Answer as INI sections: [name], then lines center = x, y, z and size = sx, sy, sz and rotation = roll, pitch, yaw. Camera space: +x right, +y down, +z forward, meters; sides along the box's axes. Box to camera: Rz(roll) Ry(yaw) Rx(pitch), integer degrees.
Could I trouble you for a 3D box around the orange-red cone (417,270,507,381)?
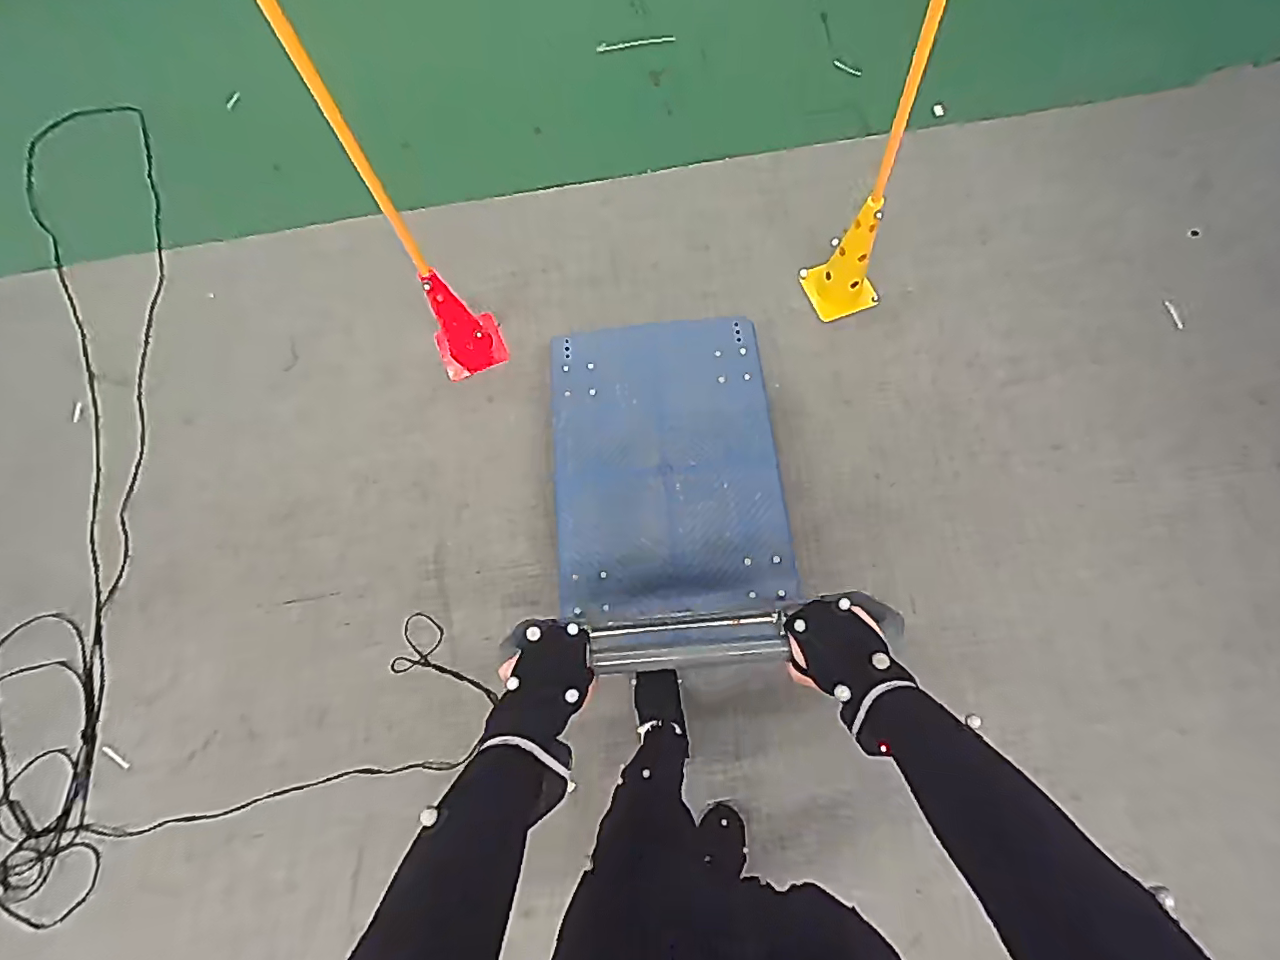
[orange-red cone]
center = -0.552, -0.475, 1.568
size = 0.199, 0.360, 0.198
rotation = -23, 71, -3
